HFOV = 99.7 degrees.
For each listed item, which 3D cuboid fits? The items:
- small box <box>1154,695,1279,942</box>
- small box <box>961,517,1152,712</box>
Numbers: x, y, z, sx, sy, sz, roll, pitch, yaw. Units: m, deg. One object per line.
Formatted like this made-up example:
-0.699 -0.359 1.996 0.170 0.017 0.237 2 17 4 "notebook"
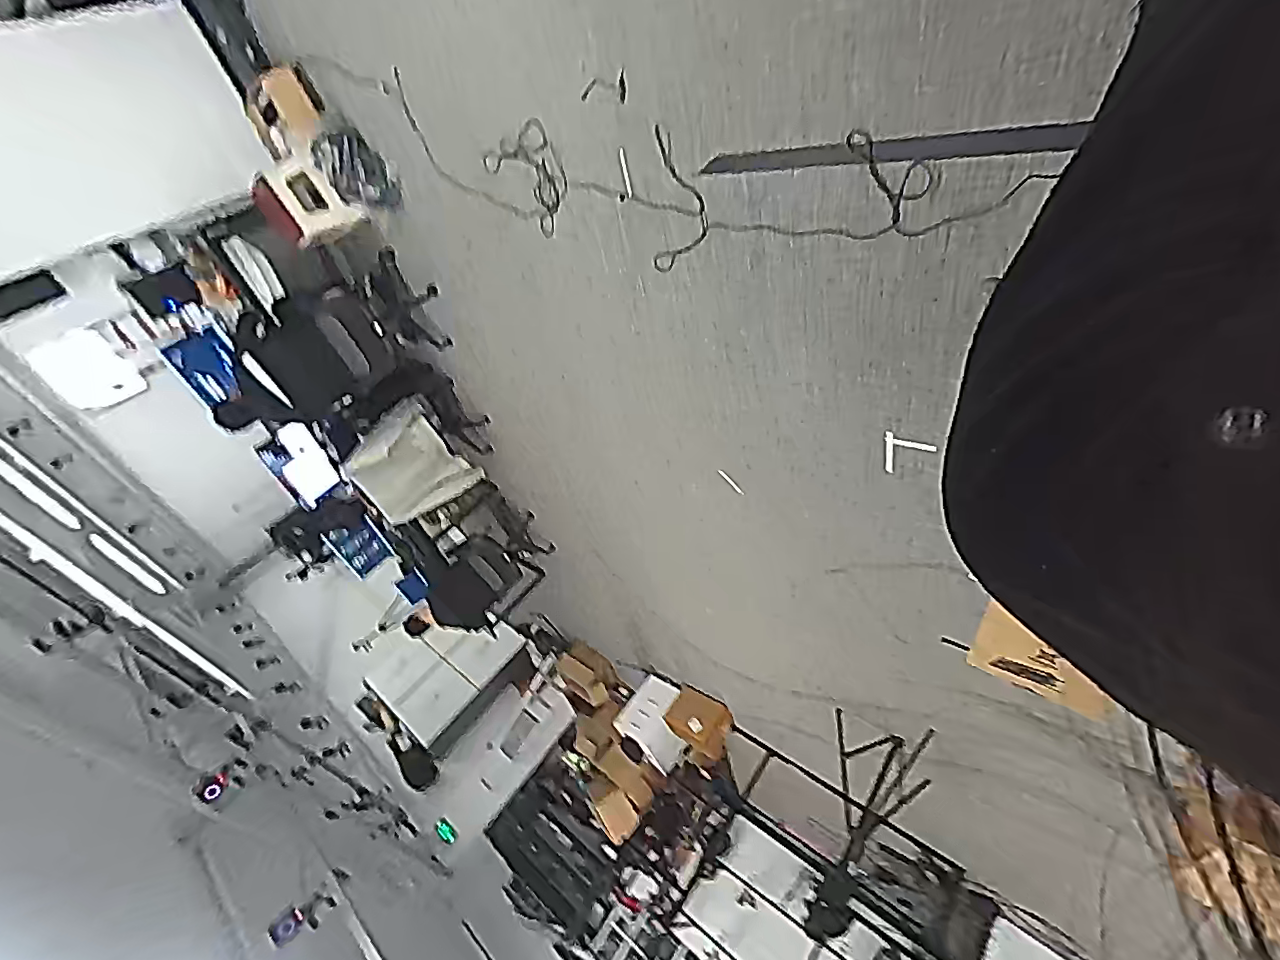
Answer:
0.684 0.366 0.563 0.168 0.176 0.179 19 142 37 "small box"
0.594 0.187 0.779 0.168 0.176 0.179 22 143 34 "small box"
